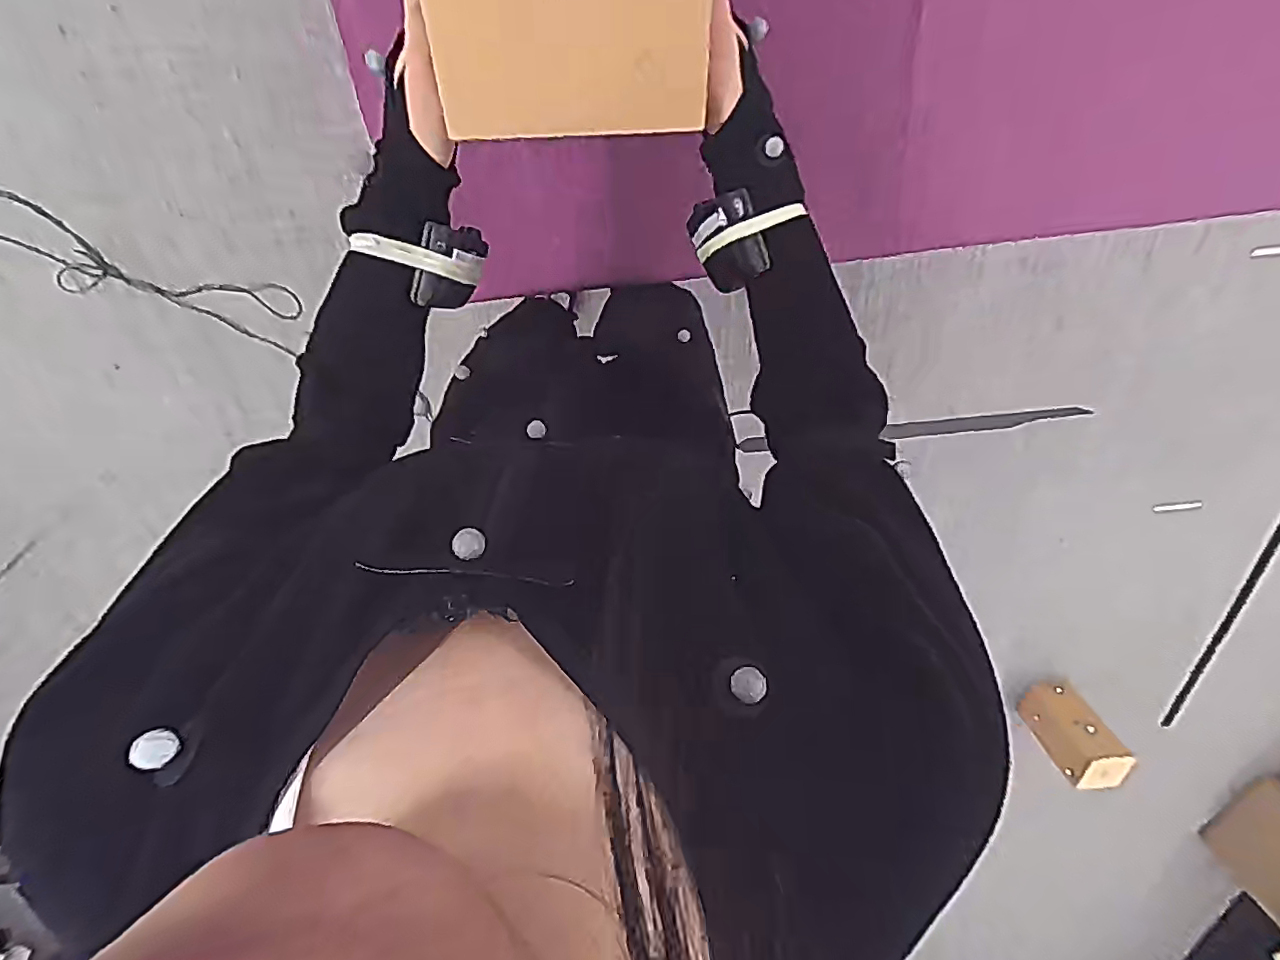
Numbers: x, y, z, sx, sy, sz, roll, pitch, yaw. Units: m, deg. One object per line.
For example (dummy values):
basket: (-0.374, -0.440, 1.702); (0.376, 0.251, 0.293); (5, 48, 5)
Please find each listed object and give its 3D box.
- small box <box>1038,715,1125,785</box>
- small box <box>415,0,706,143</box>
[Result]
small box: (1.659, 1.021, 2.046); (0.168, 0.176, 0.179); (-3, 119, -3)
small box: (-0.049, -0.336, 0.346); (0.168, 0.176, 0.179); (-4, 132, -4)
